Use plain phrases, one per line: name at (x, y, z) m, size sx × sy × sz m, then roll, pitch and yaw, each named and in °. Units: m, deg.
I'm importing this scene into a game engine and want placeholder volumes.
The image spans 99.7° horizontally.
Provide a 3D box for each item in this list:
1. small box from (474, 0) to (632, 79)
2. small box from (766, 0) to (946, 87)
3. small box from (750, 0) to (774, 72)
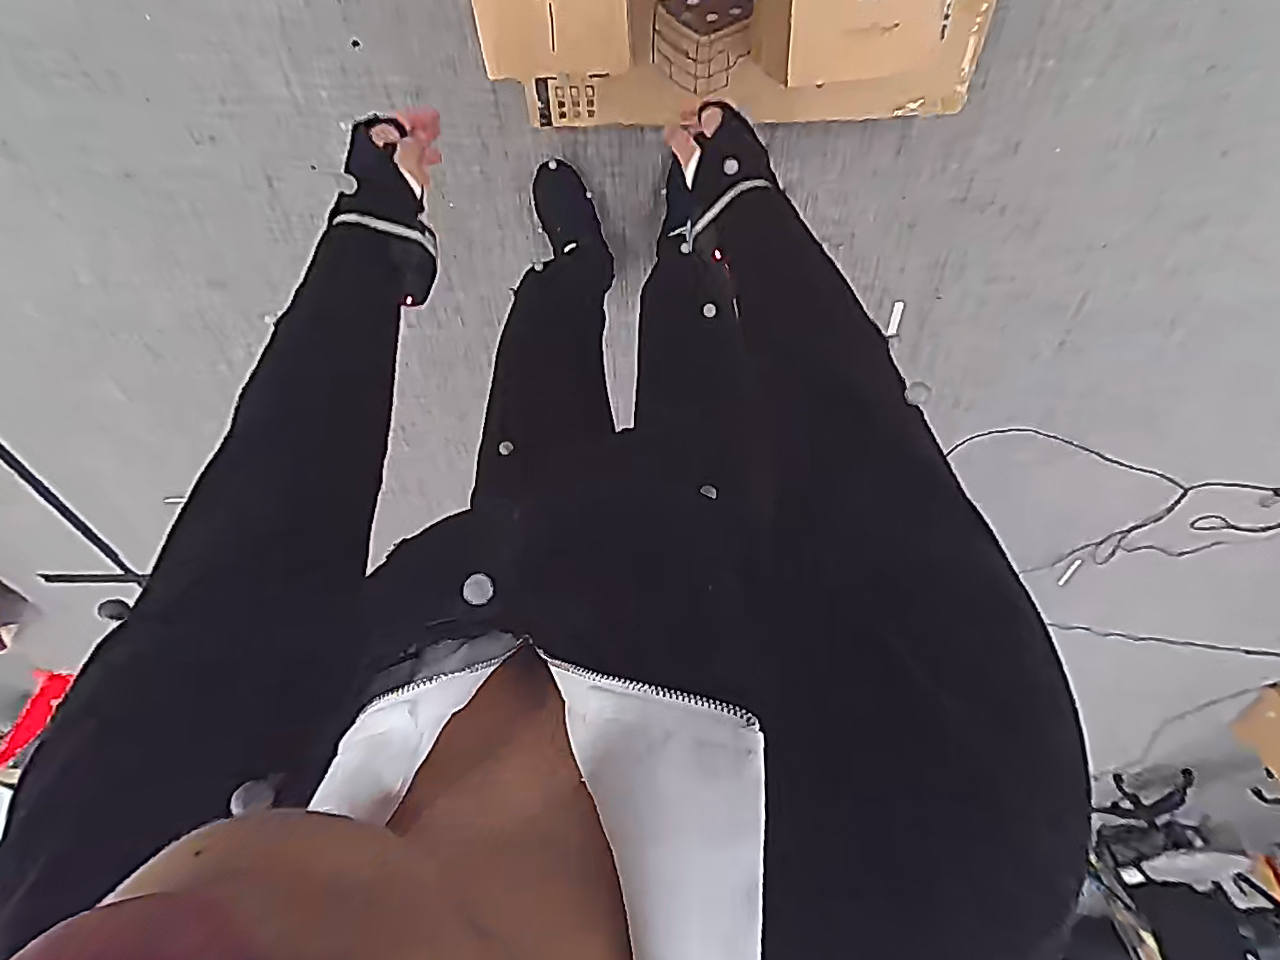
small box at (-0.097, -0.577, 0.615) m, size 0.168 × 0.176 × 0.179 m, roll -3°, pitch 132°, yaw 2°
small box at (0.243, -0.578, 0.624) m, size 0.168 × 0.176 × 0.179 m, roll -4°, pitch 132°, yaw 5°
small box at (0.251, -0.687, 0.744) m, size 0.168 × 0.176 × 0.179 m, roll -4°, pitch 133°, yaw 1°
